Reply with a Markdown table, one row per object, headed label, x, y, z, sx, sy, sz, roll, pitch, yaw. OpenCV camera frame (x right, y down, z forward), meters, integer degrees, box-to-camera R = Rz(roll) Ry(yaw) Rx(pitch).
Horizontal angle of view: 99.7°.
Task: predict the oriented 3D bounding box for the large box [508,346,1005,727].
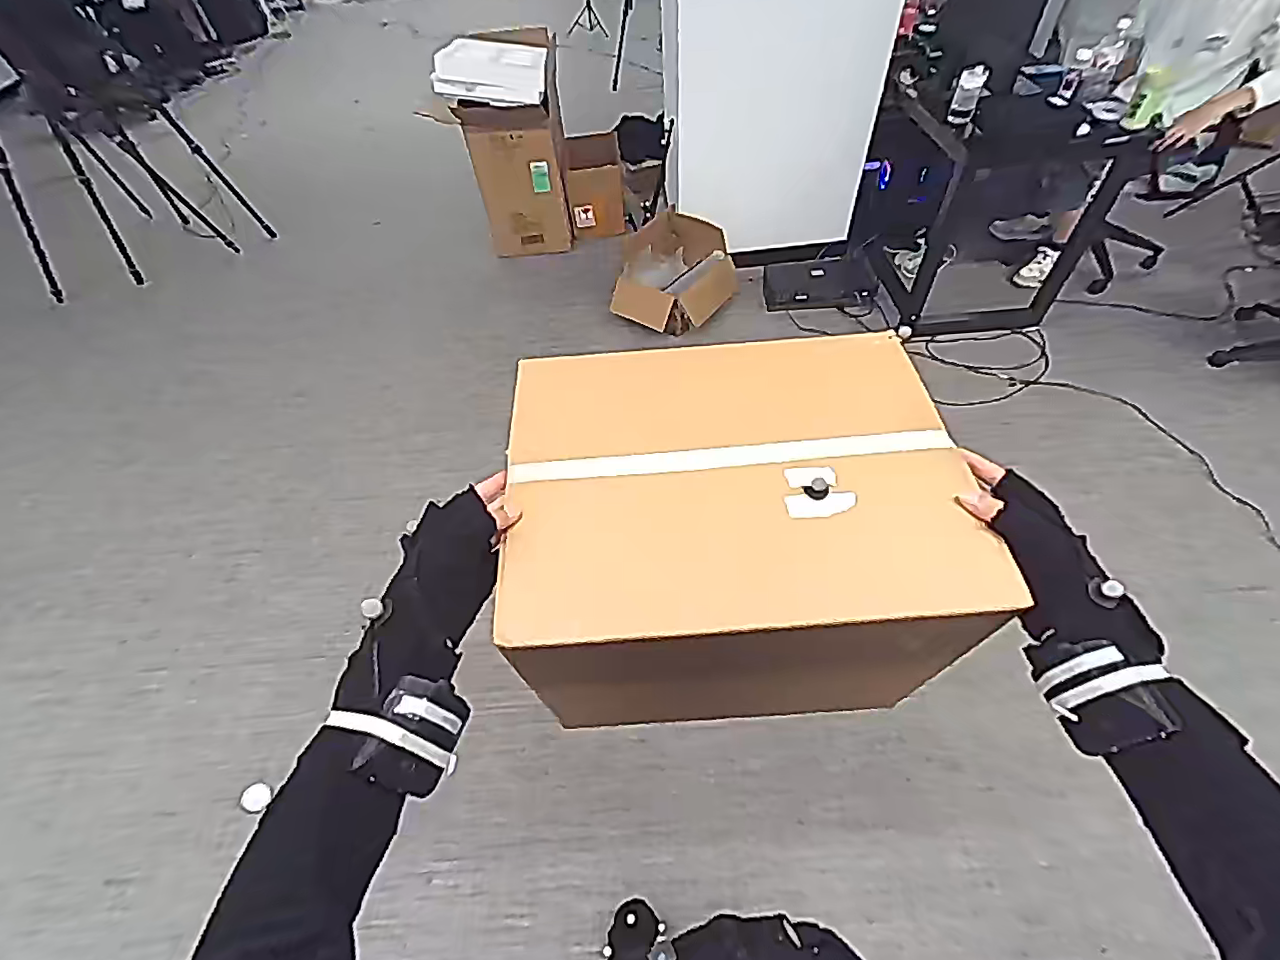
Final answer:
| label | x | y | z | sx | sy | sz | roll | pitch | yaw |
| --- | --- | --- | --- | --- | --- | --- | --- | --- | --- |
| large box | 0.087 | 0.077 | 0.629 | 0.408 | 0.320 | 0.320 | -4 | 55 | 0 |
